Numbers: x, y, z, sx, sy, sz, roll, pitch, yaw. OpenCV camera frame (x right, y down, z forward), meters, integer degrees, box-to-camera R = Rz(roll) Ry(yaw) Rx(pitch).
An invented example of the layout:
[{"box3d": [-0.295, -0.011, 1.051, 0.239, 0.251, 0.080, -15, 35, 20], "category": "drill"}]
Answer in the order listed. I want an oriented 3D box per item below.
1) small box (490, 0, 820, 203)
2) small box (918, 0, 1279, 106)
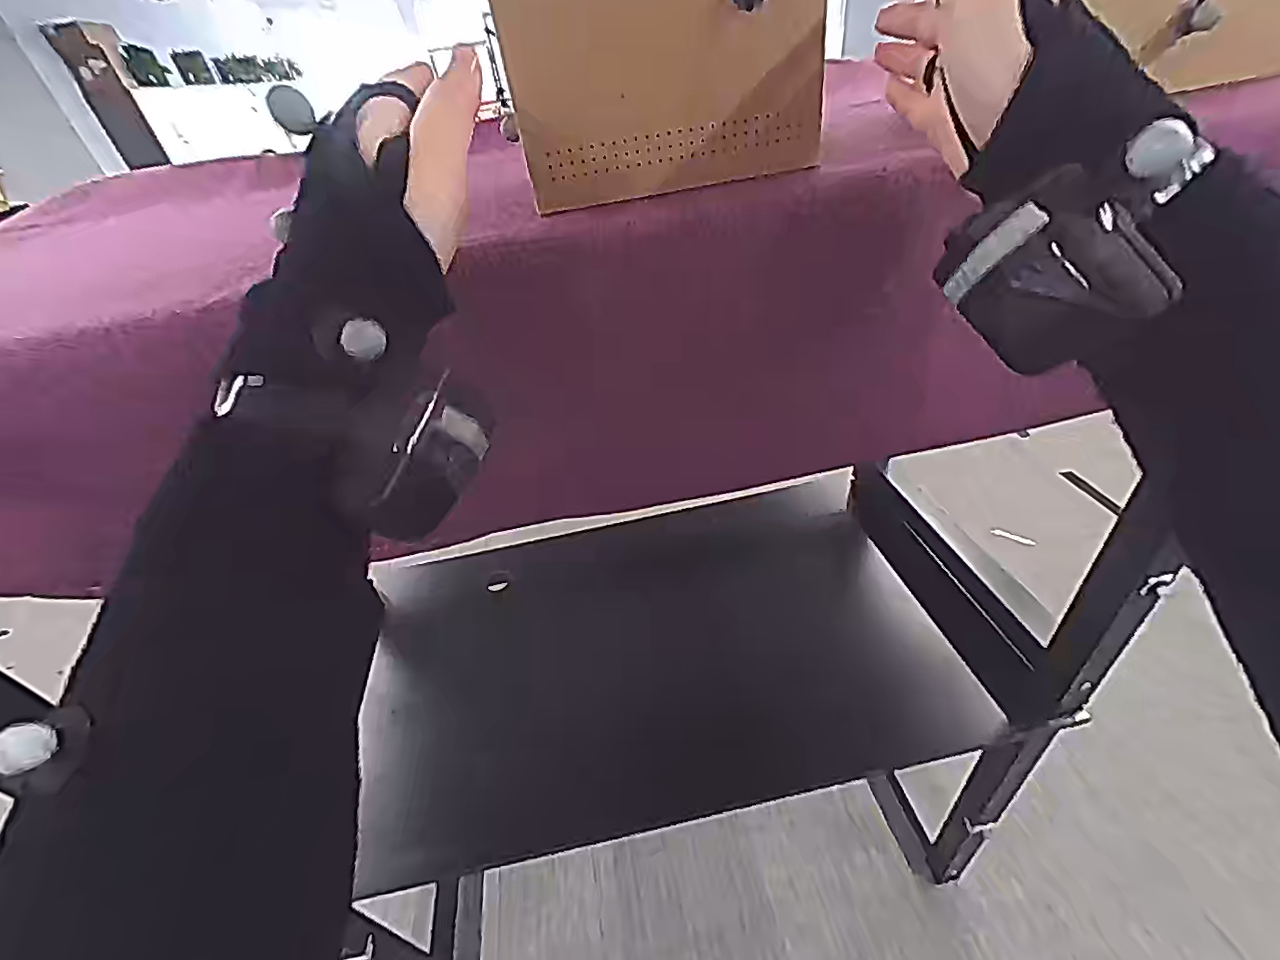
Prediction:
[{"box3d": [0.004, -0.290, 0.337, 0.179, 0.176, 0.168, -11, 37, -1], "category": "small box"}, {"box3d": [0.317, -0.366, 0.357, 0.179, 0.176, 0.168, -9, 36, 1], "category": "small box"}]
